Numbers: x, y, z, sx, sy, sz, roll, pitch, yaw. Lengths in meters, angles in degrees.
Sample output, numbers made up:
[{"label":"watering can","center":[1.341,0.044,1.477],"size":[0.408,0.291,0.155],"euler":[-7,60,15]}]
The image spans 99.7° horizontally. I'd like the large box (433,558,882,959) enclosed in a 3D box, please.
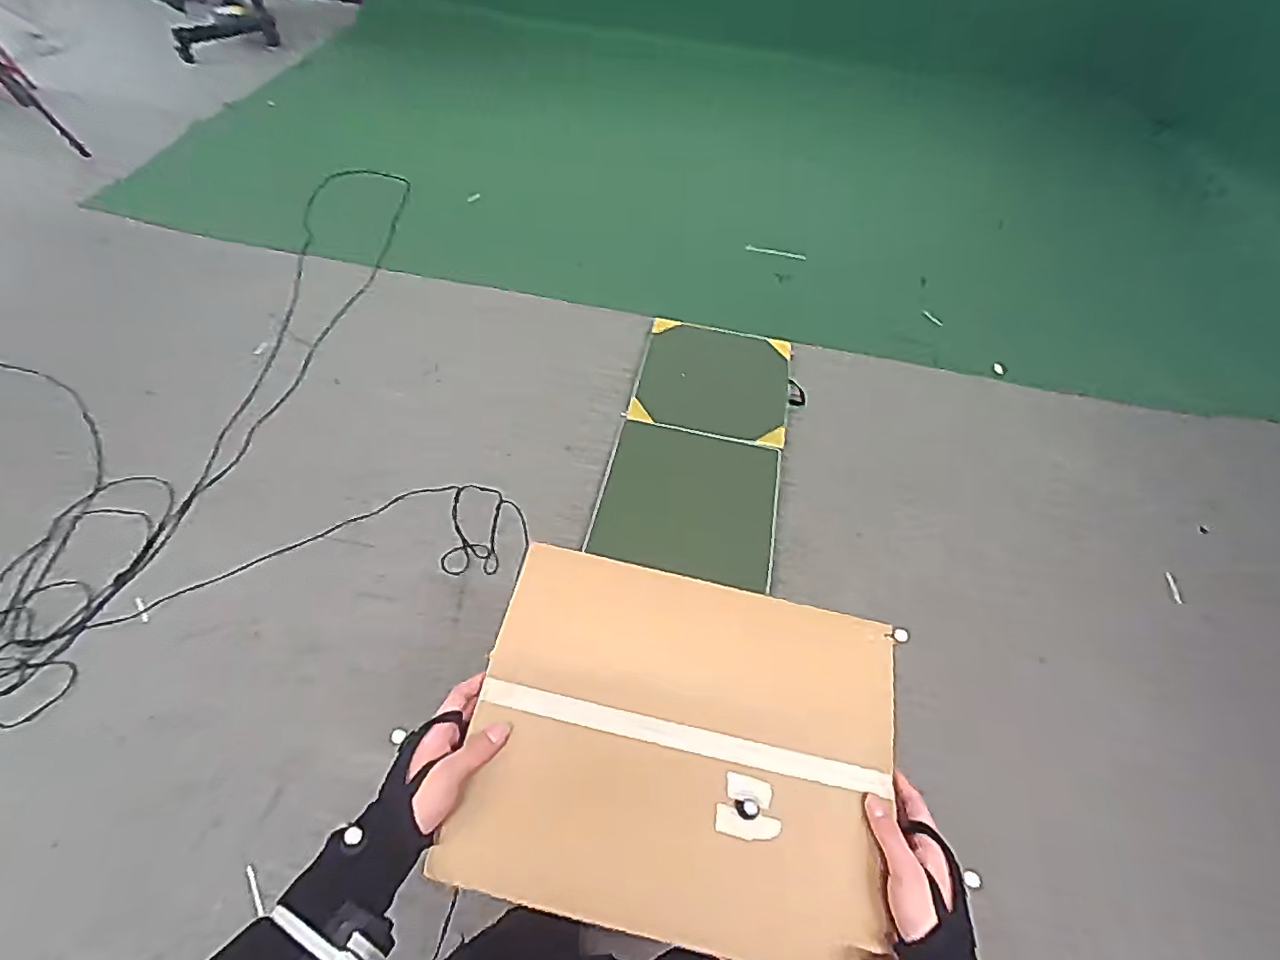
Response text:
[{"label":"large box","center":[0.027,0.325,0.664],"size":[0.408,0.320,0.320],"euler":[12,63,2]}]
